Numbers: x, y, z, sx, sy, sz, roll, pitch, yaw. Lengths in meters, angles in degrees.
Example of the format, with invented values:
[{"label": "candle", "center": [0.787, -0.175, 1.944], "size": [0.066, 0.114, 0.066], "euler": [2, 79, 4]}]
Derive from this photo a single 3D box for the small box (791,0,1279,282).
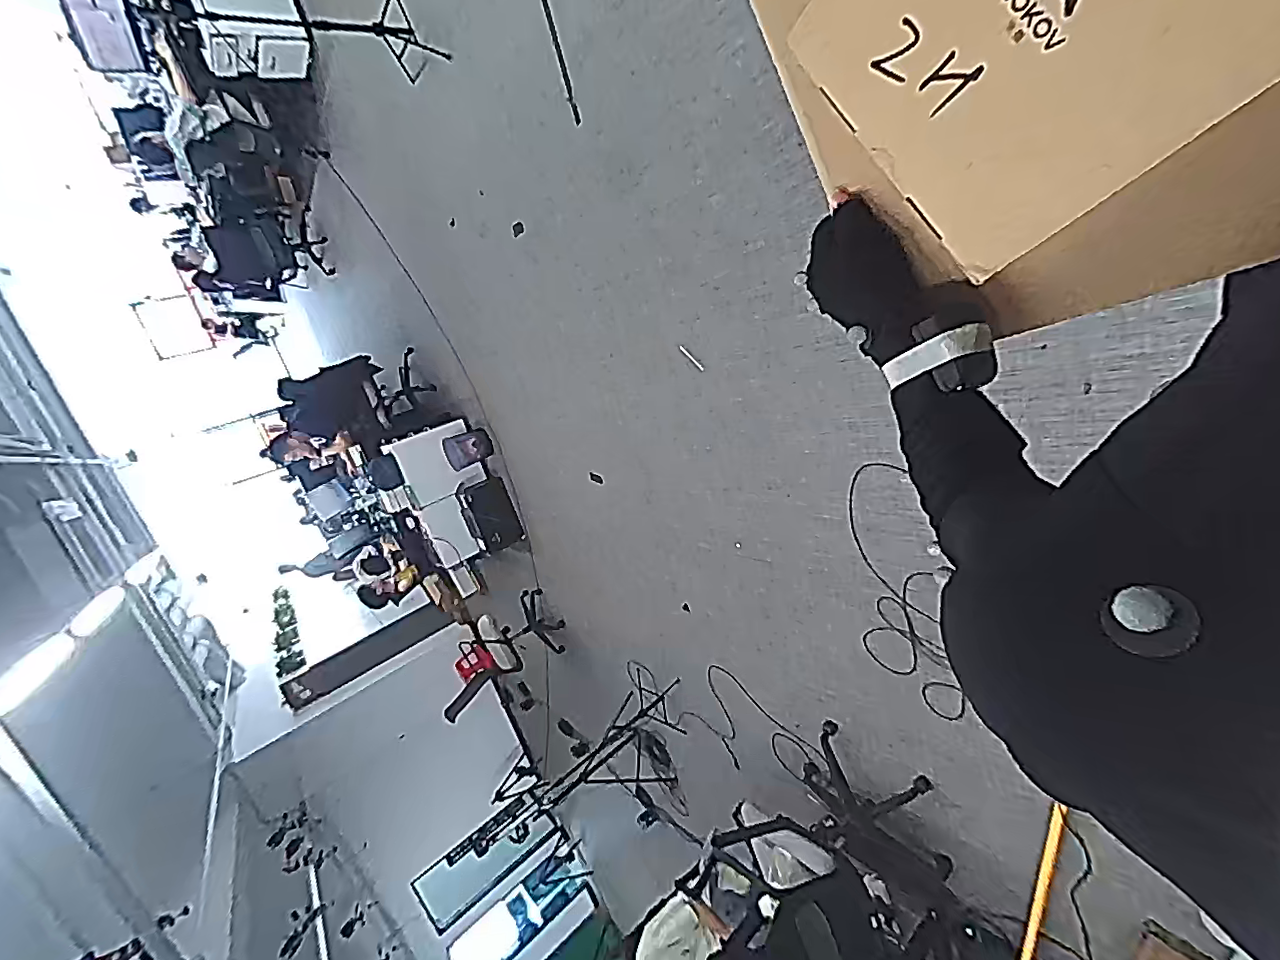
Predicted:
[{"label": "small box", "center": [0.217, -0.239, 0.267], "size": [0.168, 0.176, 0.179], "euler": [52, 143, 0]}]
